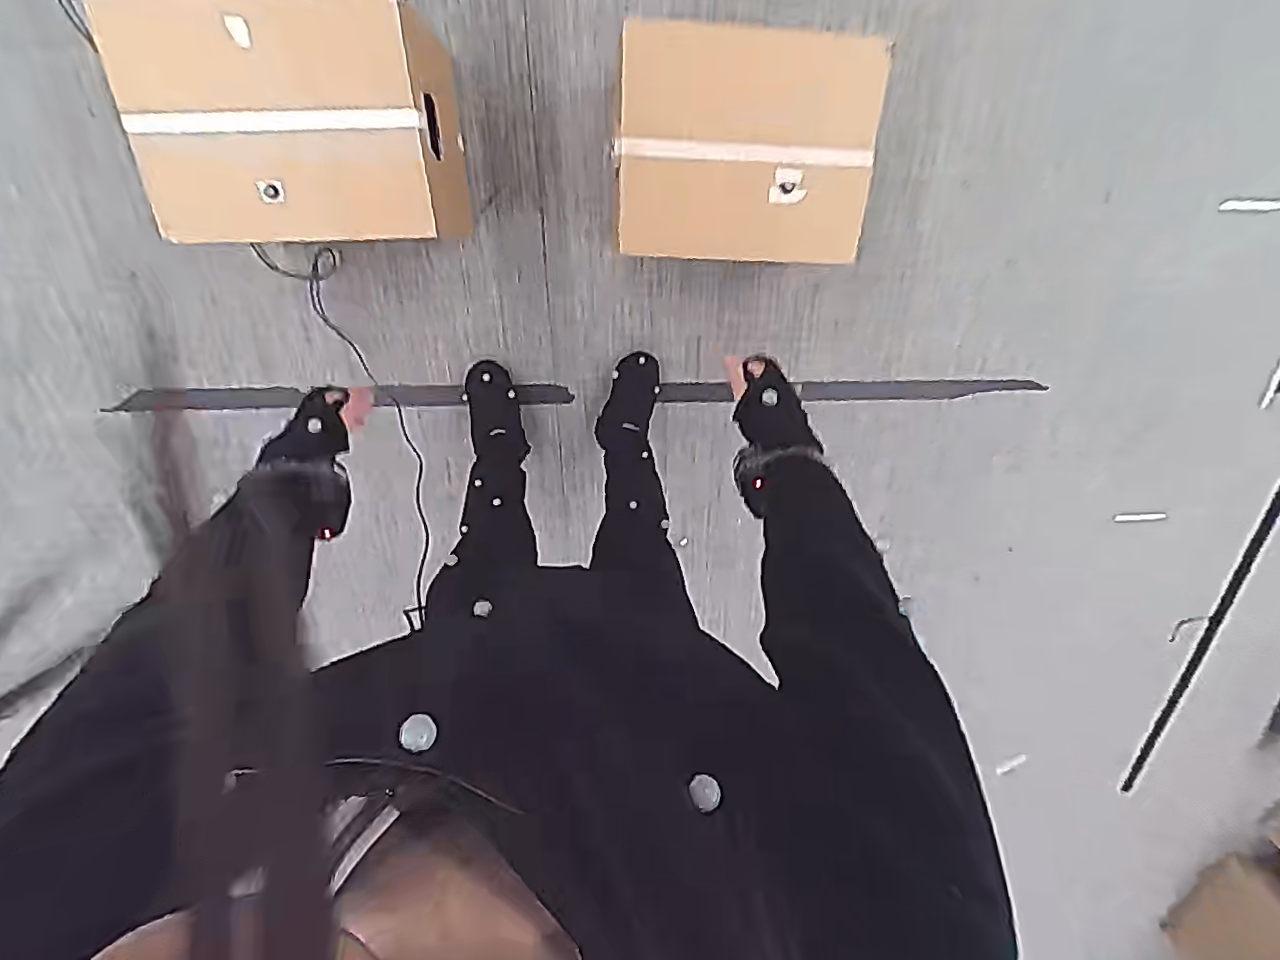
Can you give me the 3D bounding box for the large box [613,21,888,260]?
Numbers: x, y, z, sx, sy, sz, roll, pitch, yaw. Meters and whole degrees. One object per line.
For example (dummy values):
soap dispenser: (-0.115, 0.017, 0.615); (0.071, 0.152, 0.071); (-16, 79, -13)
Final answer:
large box: (0.158, -0.576, 0.990); (0.408, 0.320, 0.320); (0, 114, -6)
